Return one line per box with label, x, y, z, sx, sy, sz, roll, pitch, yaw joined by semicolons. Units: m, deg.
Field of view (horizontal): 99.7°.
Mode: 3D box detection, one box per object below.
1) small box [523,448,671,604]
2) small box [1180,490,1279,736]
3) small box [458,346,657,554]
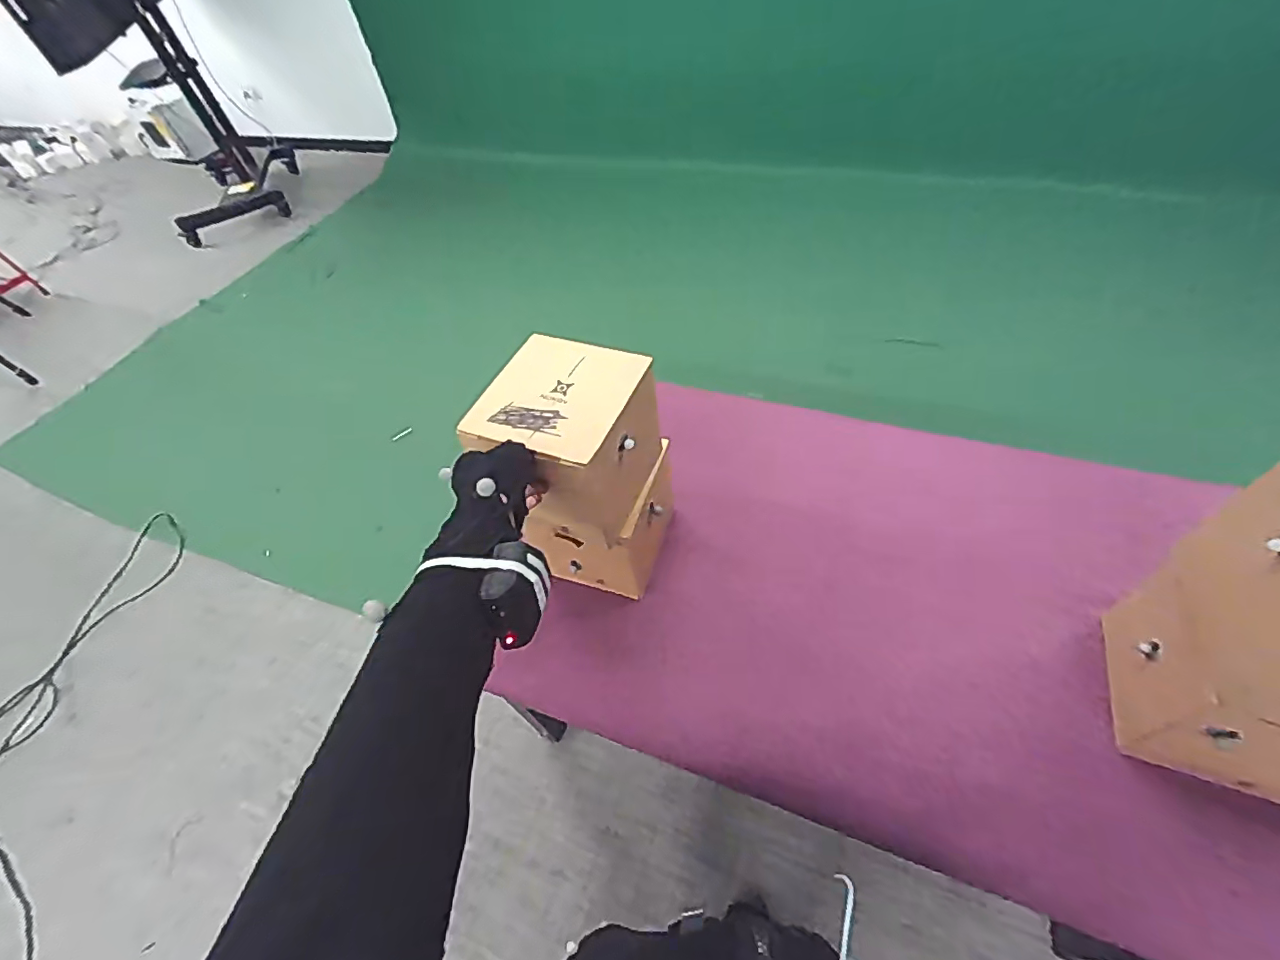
small box;-0.055;0.056;0.806;0.168;0.176;0.179;12;55;16
small box;0.617;0.117;0.454;0.168;0.176;0.179;11;53;16
small box;-0.084;-0.034;0.670;0.168;0.176;0.179;16;56;18
